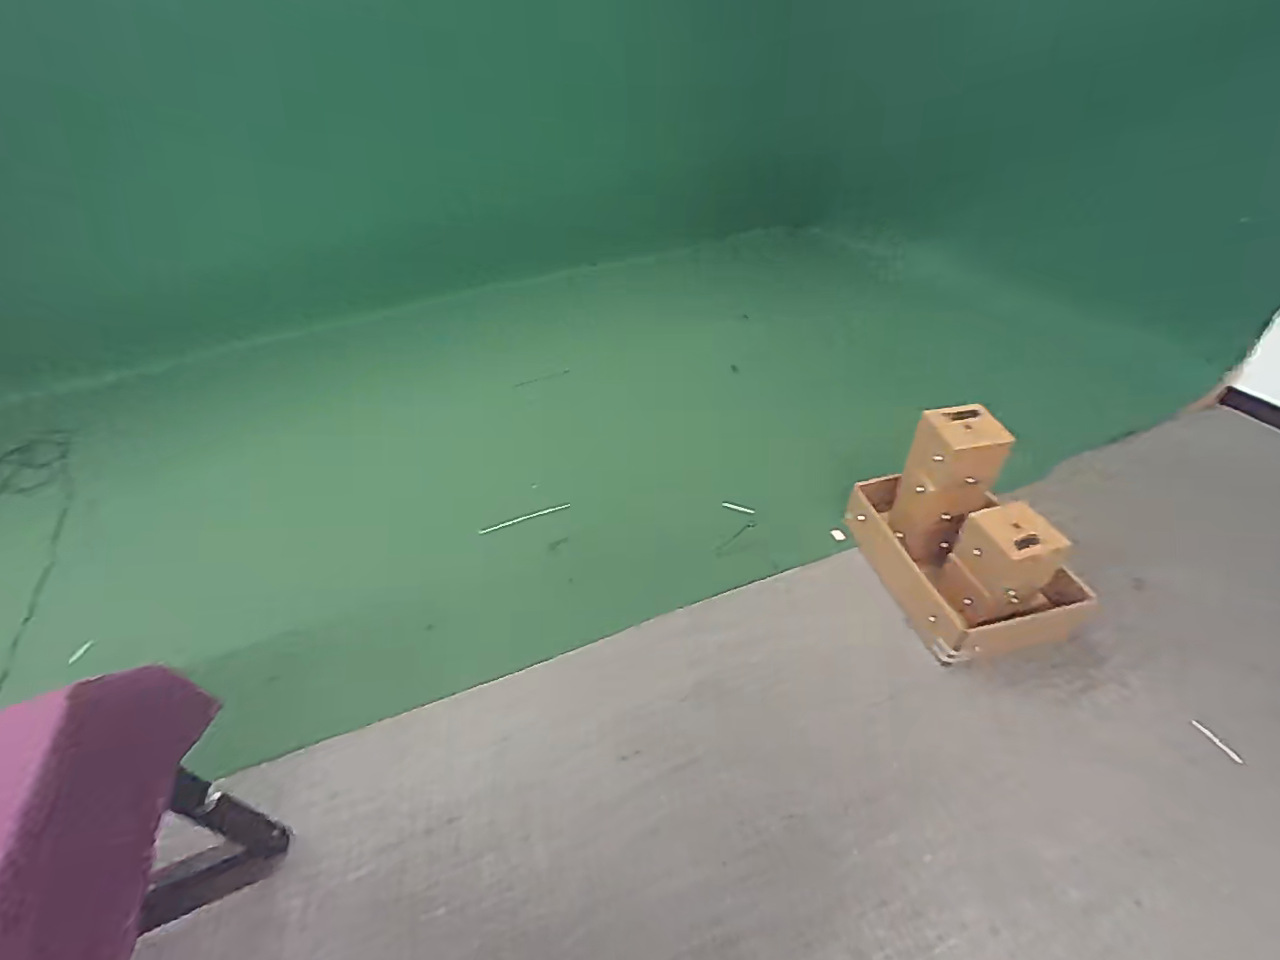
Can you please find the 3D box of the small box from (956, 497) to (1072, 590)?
[{"bbox_3d":[0.999,0.178,1.461,0.168,0.176,0.179,-14,41,-5],"label":"small box"}]

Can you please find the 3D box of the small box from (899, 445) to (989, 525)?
[{"bbox_3d":[0.922,0.015,1.660,0.168,0.176,0.179,-5,45,3],"label":"small box"}]
